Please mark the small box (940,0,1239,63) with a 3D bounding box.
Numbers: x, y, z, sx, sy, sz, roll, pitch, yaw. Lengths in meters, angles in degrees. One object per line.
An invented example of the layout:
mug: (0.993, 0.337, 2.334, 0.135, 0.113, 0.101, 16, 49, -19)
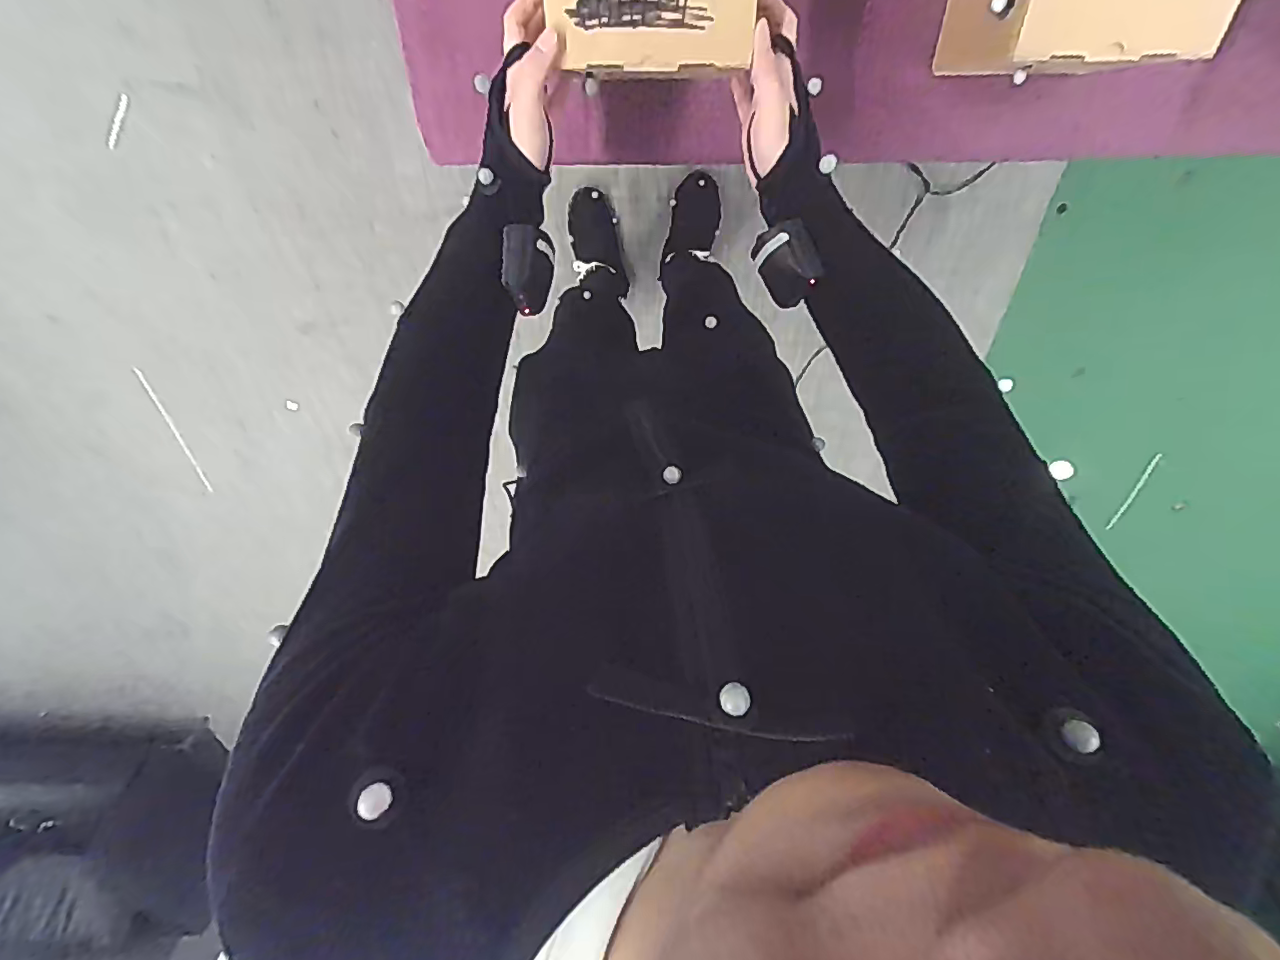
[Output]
small box: (0.387, -0.467, 0.456, 0.168, 0.176, 0.179, 0, 126, 3)
